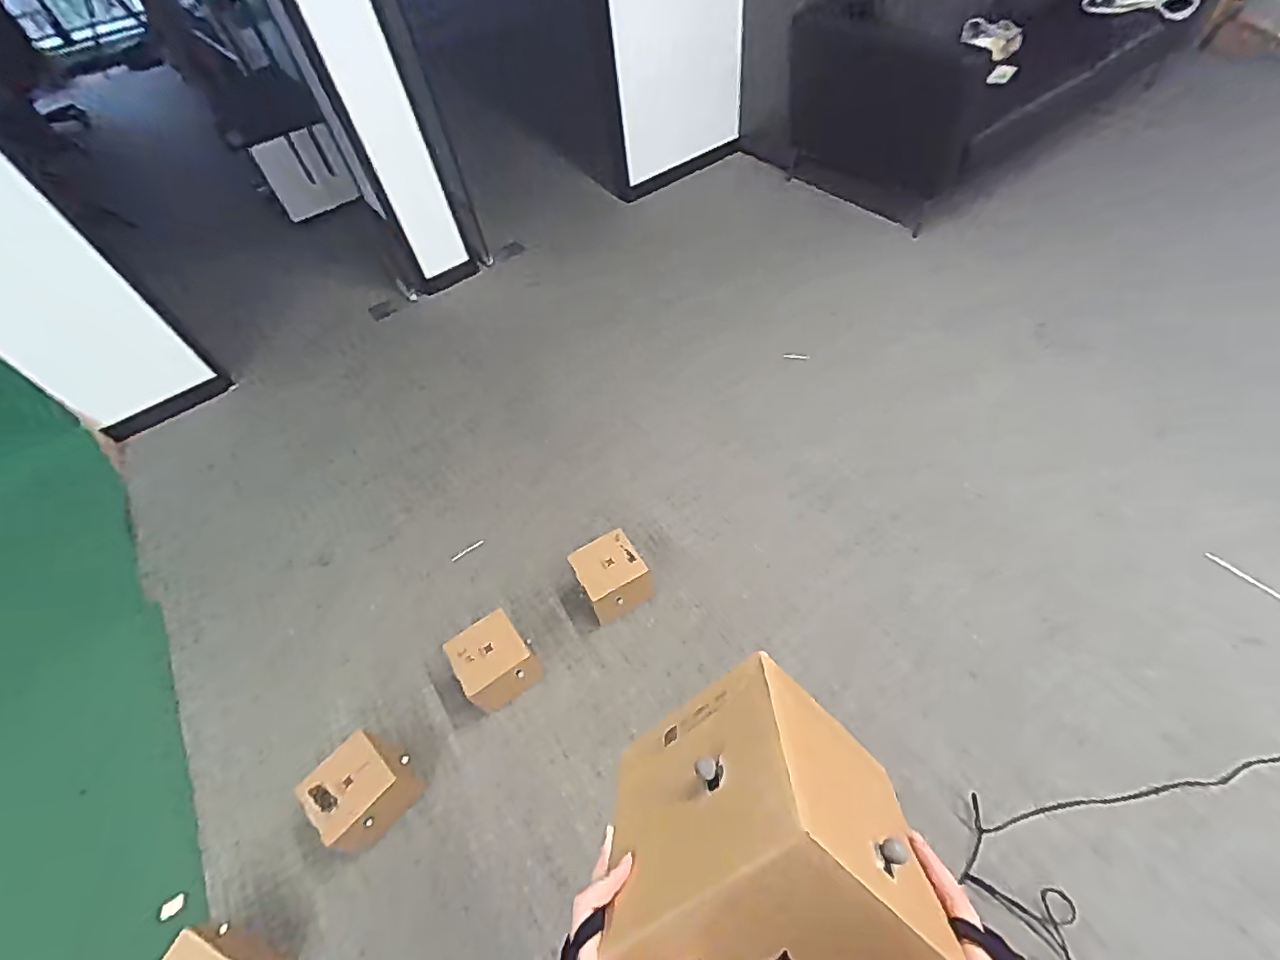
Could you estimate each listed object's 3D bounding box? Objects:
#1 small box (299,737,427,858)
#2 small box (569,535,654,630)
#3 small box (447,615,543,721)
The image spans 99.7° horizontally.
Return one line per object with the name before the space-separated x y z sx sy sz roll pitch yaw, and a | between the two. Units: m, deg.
small box | -0.639 0.746 1.264 0.168 0.176 0.179 33 63 28
small box | -0.076 0.295 1.536 0.179 0.176 0.168 -28 55 -13
small box | -0.371 0.496 1.421 0.179 0.176 0.168 -32 55 -17
